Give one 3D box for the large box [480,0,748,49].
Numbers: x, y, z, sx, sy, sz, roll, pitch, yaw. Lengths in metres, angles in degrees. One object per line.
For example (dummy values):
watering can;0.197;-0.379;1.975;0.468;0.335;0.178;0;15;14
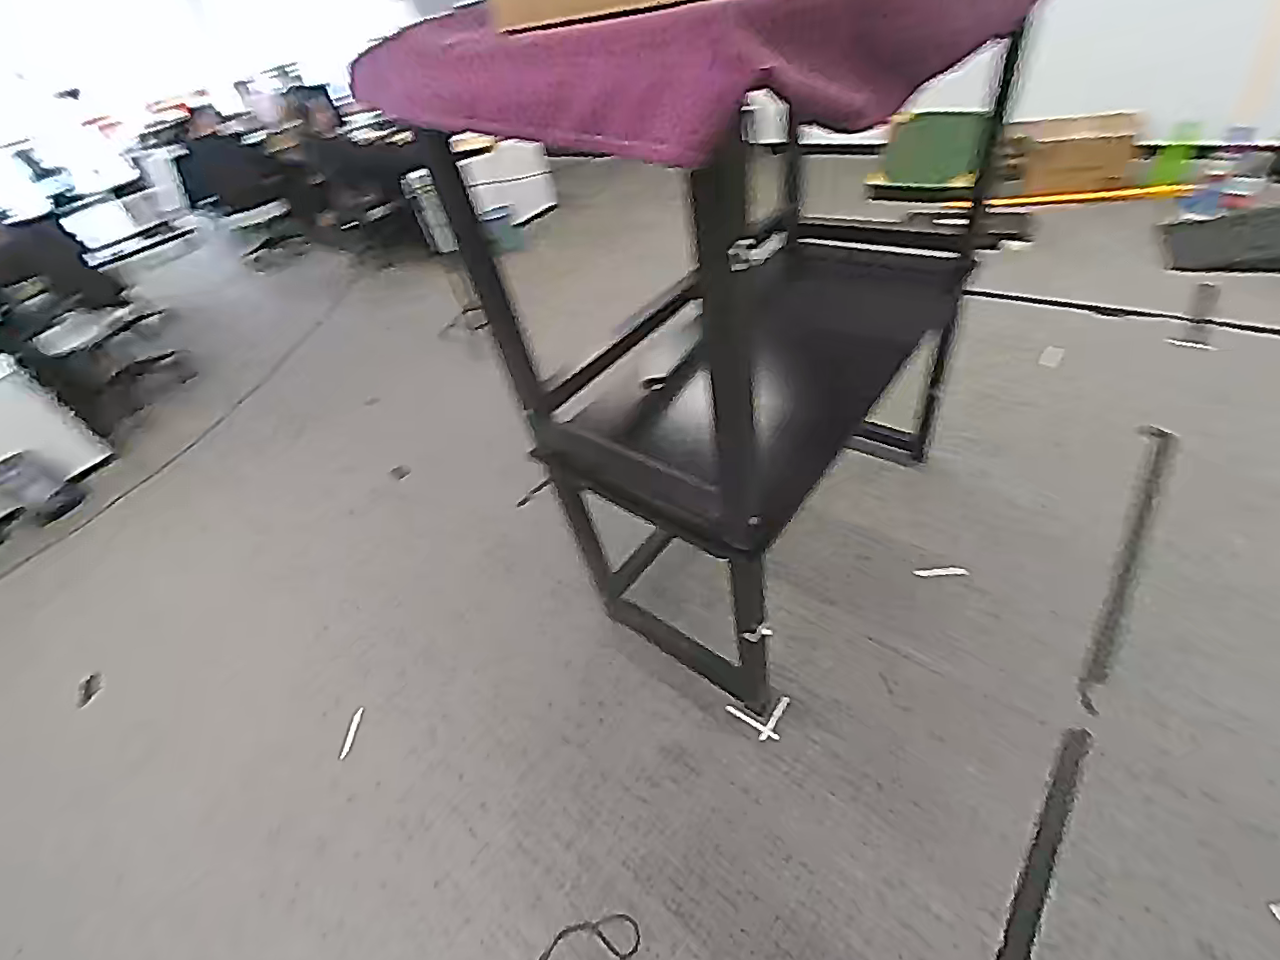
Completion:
large box;0.018;-0.714;0.581;0.408;0.320;0.320;21;53;33
